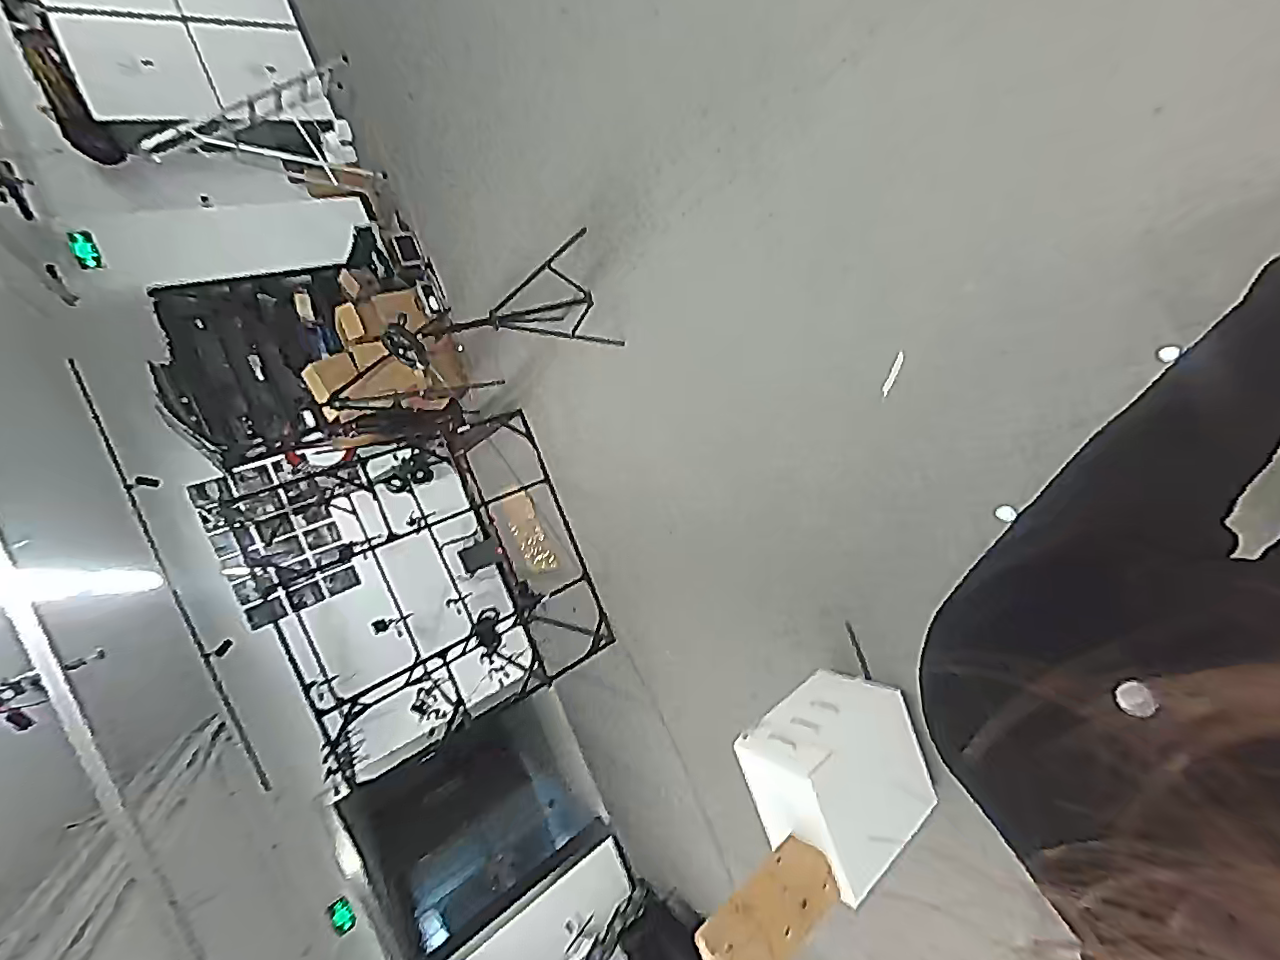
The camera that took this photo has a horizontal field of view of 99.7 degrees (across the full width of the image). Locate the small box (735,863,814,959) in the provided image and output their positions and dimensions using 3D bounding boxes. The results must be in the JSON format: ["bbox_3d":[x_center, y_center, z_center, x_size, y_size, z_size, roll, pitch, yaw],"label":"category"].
[{"bbox_3d":[0.464,1.477,1.858,0.168,0.176,0.179,-11,101,61],"label":"small box"}]

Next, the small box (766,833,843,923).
[{"bbox_3d":[0.592,1.419,1.943,0.179,0.176,0.168,-13,100,60],"label":"small box"}]
